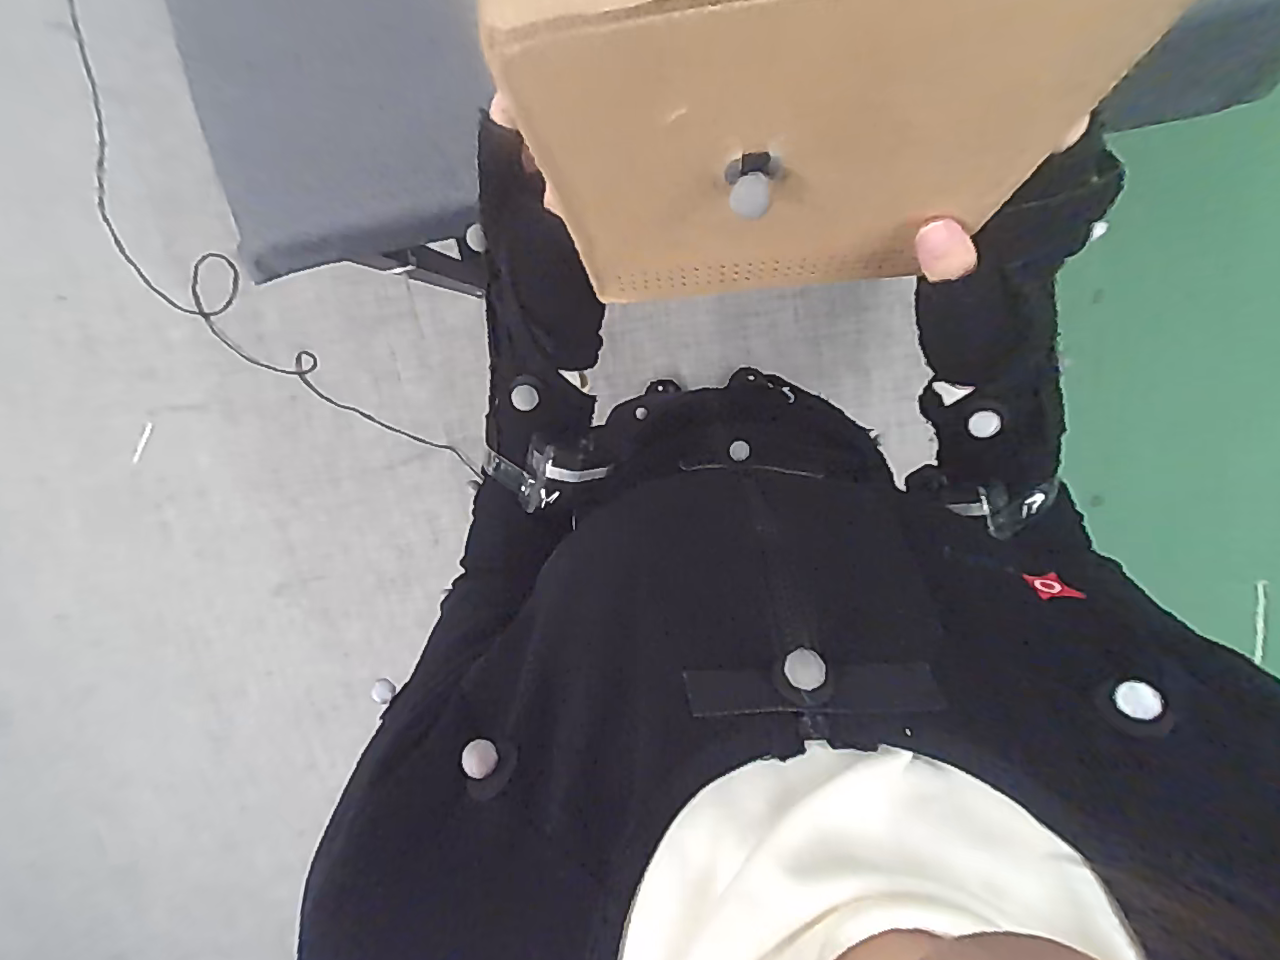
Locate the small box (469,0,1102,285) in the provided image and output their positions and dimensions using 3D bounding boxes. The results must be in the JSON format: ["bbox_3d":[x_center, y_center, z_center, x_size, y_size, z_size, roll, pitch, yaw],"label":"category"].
[{"bbox_3d":[0.049,-0.193,0.214,0.179,0.176,0.168,-4,85,7],"label":"small box"}]
